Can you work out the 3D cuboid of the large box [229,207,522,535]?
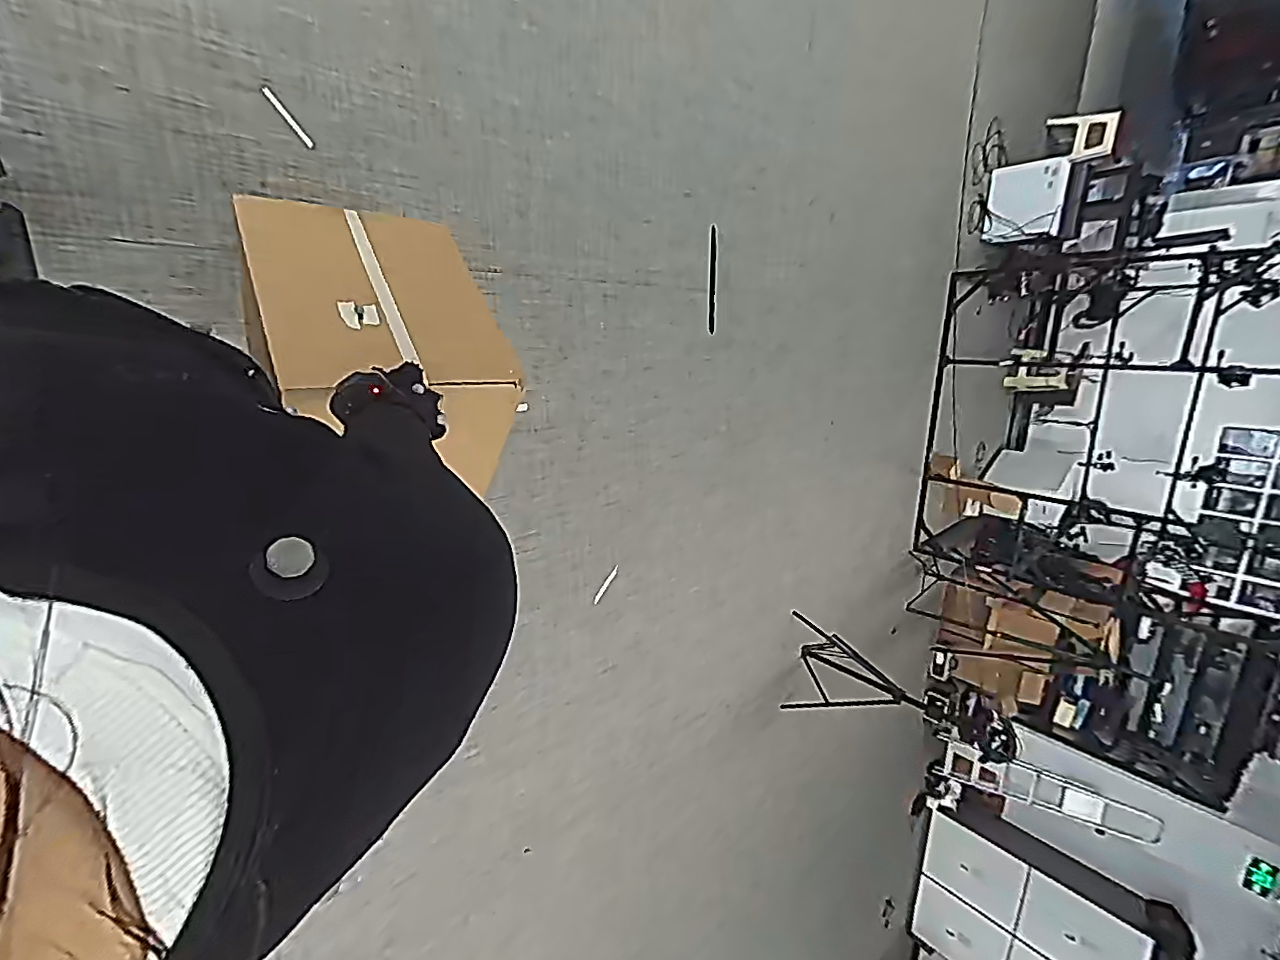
[{"bbox_3d":[-0.452,-0.177,0.903,0.320,0.408,0.320,-11,149,-37],"label":"large box"}]
